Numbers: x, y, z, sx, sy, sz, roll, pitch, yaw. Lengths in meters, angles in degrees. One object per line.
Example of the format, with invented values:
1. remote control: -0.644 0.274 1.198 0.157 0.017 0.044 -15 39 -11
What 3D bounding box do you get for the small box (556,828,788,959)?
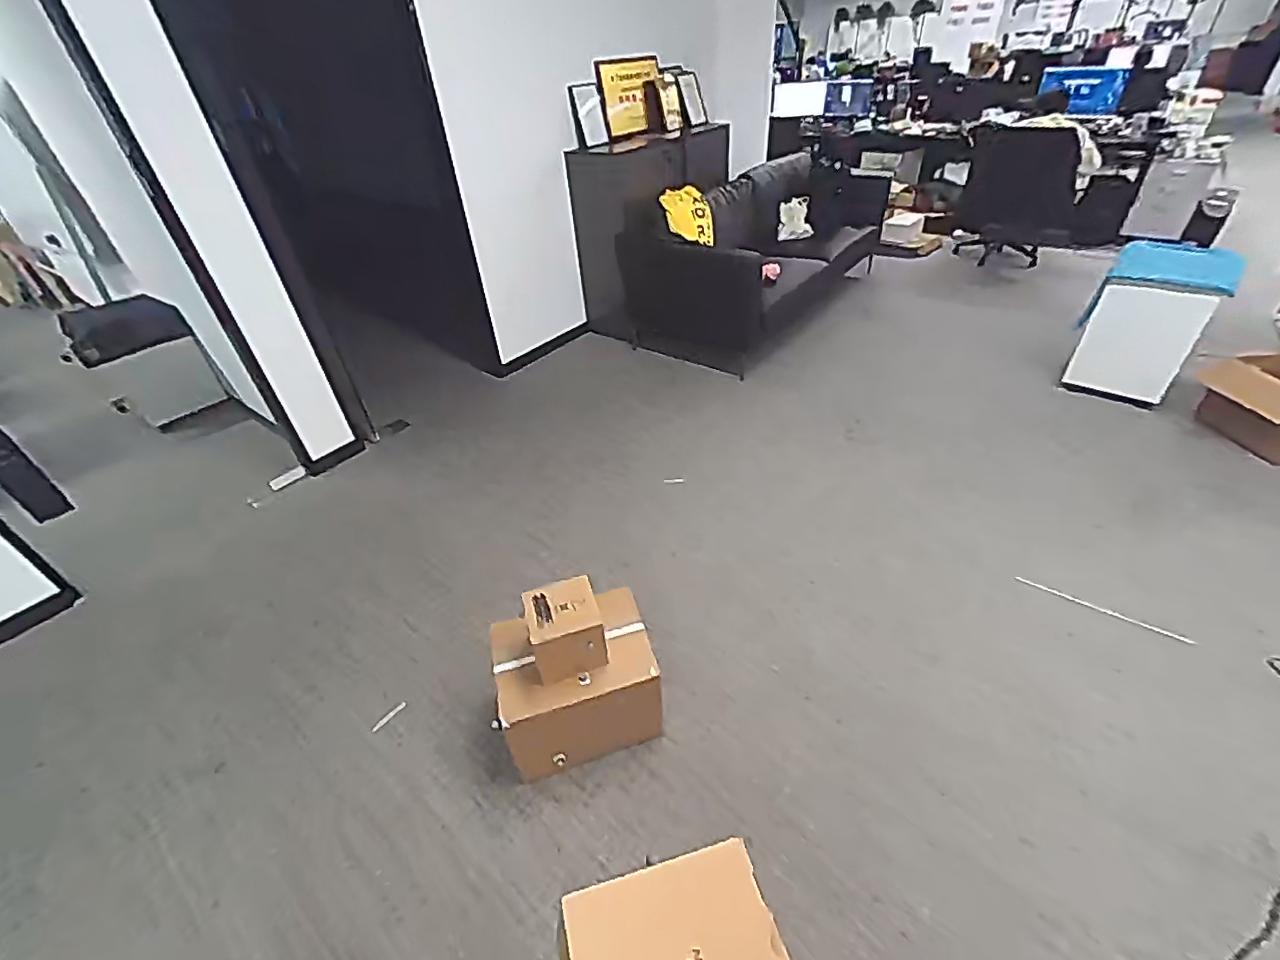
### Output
1. small box: 0.025 0.452 0.480 0.179 0.176 0.168 -6 42 -19
